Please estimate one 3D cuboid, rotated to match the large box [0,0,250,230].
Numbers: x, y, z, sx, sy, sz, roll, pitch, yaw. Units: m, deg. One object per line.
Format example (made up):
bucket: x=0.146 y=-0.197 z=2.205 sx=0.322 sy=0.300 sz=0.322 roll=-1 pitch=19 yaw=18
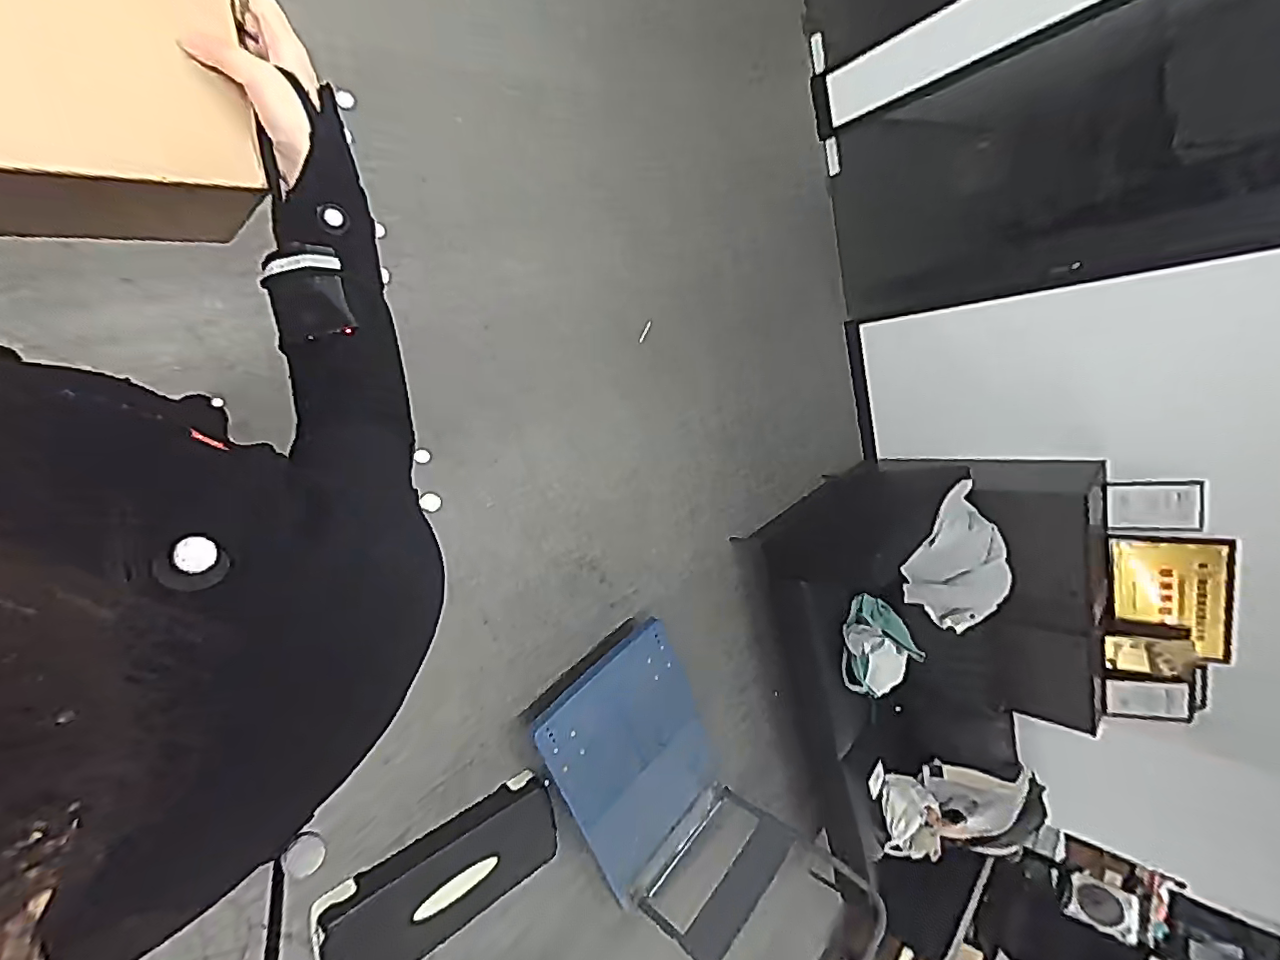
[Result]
large box: x=-0.550 y=-0.350 z=0.354 sx=0.408 sy=0.320 sz=0.320 roll=-18 pitch=112 yaw=-37
